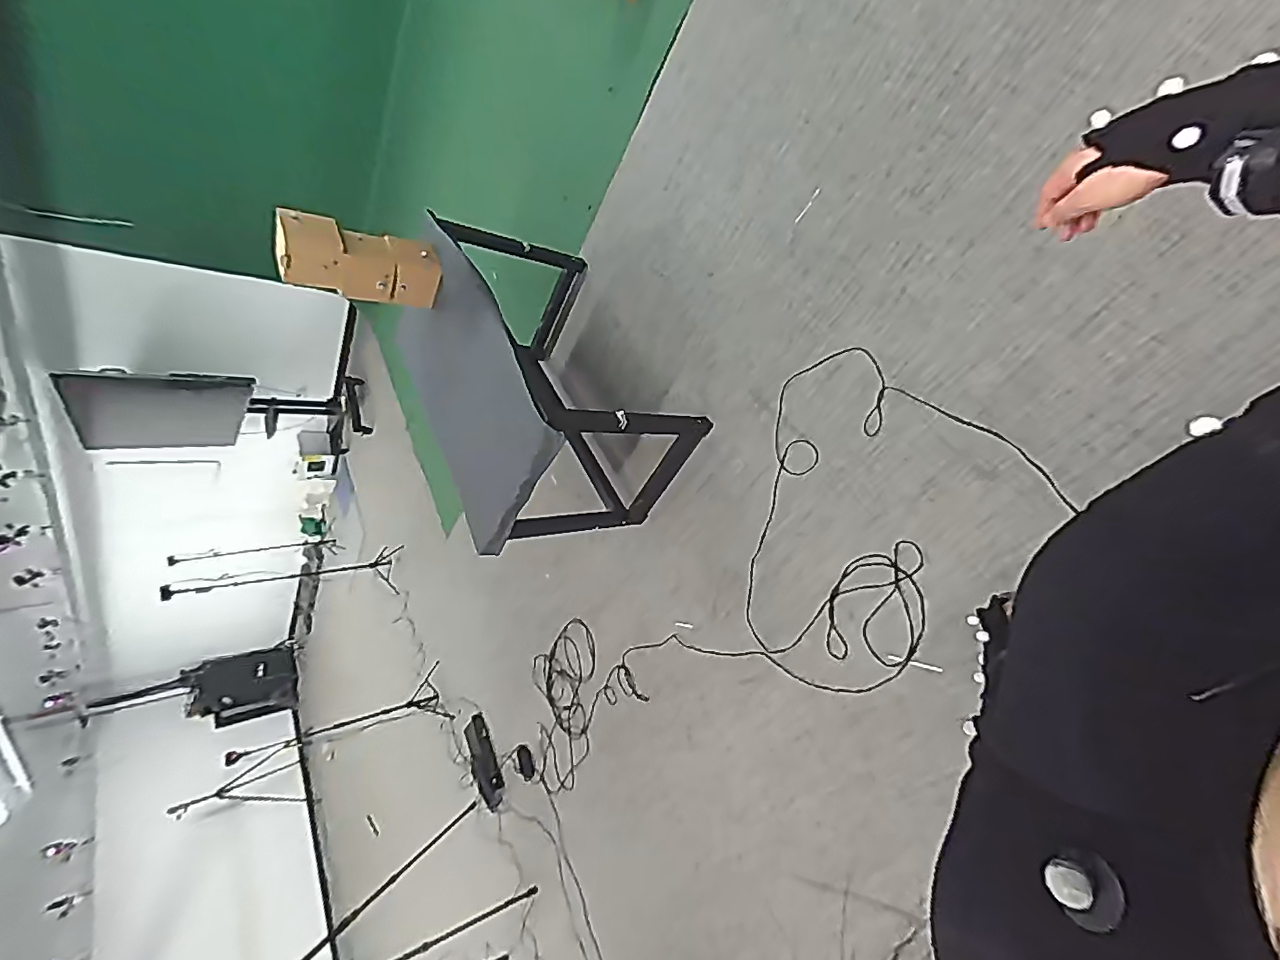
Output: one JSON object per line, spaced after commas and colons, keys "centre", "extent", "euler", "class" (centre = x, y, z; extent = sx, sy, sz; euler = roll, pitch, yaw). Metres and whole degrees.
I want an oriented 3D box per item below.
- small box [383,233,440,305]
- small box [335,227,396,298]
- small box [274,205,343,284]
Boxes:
{"centre": [-0.867, -0.783, 2.026], "extent": [0.179, 0.176, 0.168], "euler": [-50, 57, 39], "class": "small box"}
{"centre": [-0.985, -0.764, 1.916], "extent": [0.179, 0.176, 0.168], "euler": [54, 133, 29], "class": "small box"}
{"centre": [-1.108, -0.777, 1.804], "extent": [0.179, 0.176, 0.168], "euler": [59, 135, 27], "class": "small box"}
